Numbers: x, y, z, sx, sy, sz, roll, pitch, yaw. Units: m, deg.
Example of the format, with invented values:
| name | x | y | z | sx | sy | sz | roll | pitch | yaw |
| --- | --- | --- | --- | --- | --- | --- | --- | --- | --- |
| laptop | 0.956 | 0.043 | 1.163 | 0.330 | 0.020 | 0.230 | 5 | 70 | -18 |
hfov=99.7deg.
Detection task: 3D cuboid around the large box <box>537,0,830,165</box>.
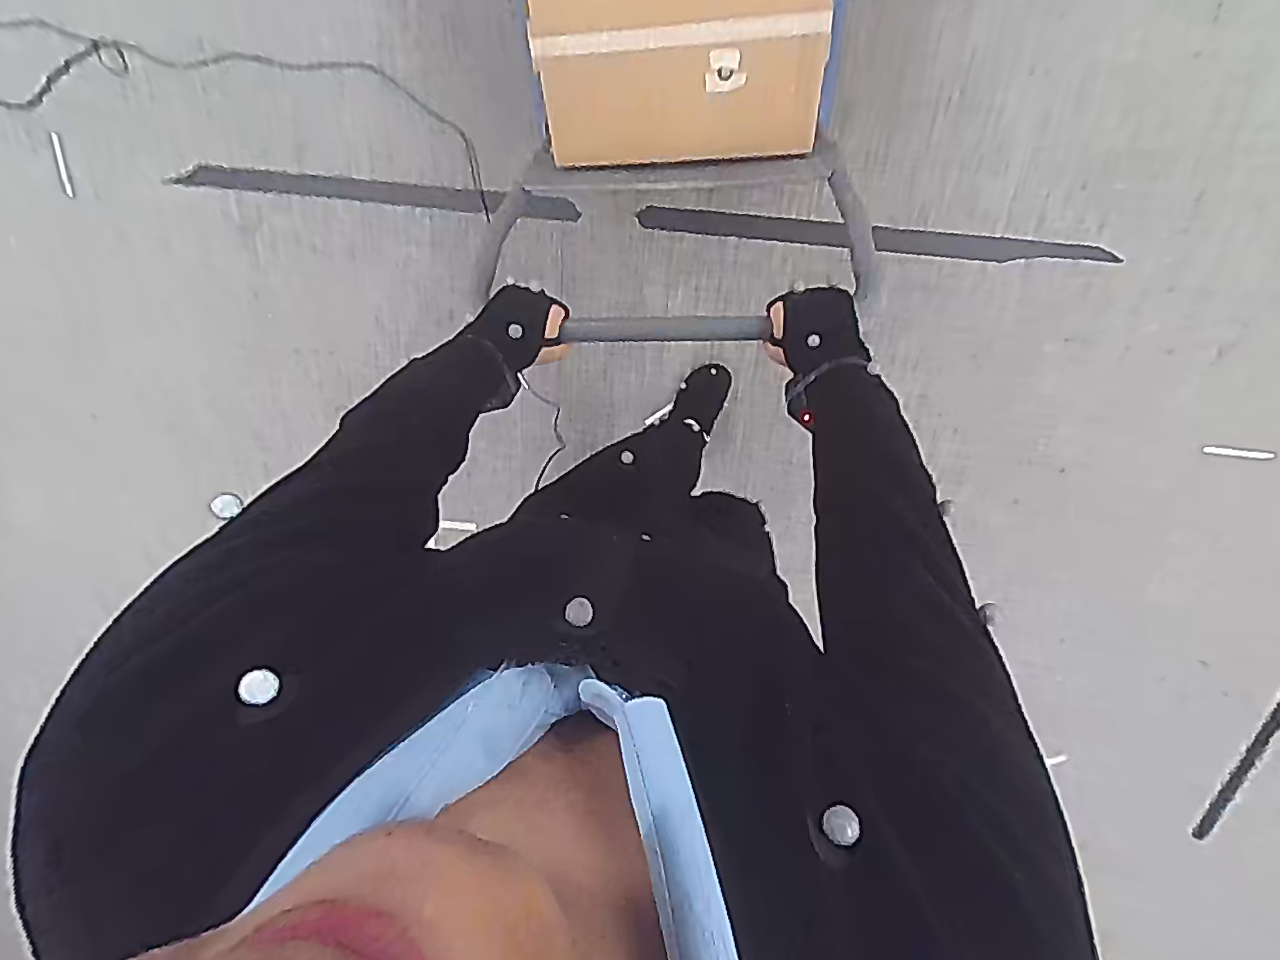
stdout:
| name | x | y | z | sx | sy | sz | roll | pitch | yaw |
| --- | --- | --- | --- | --- | --- | --- | --- | --- | --- |
| large box | 0.068 | -0.730 | 0.858 | 0.408 | 0.320 | 0.320 | -1 | 135 | 7 |
